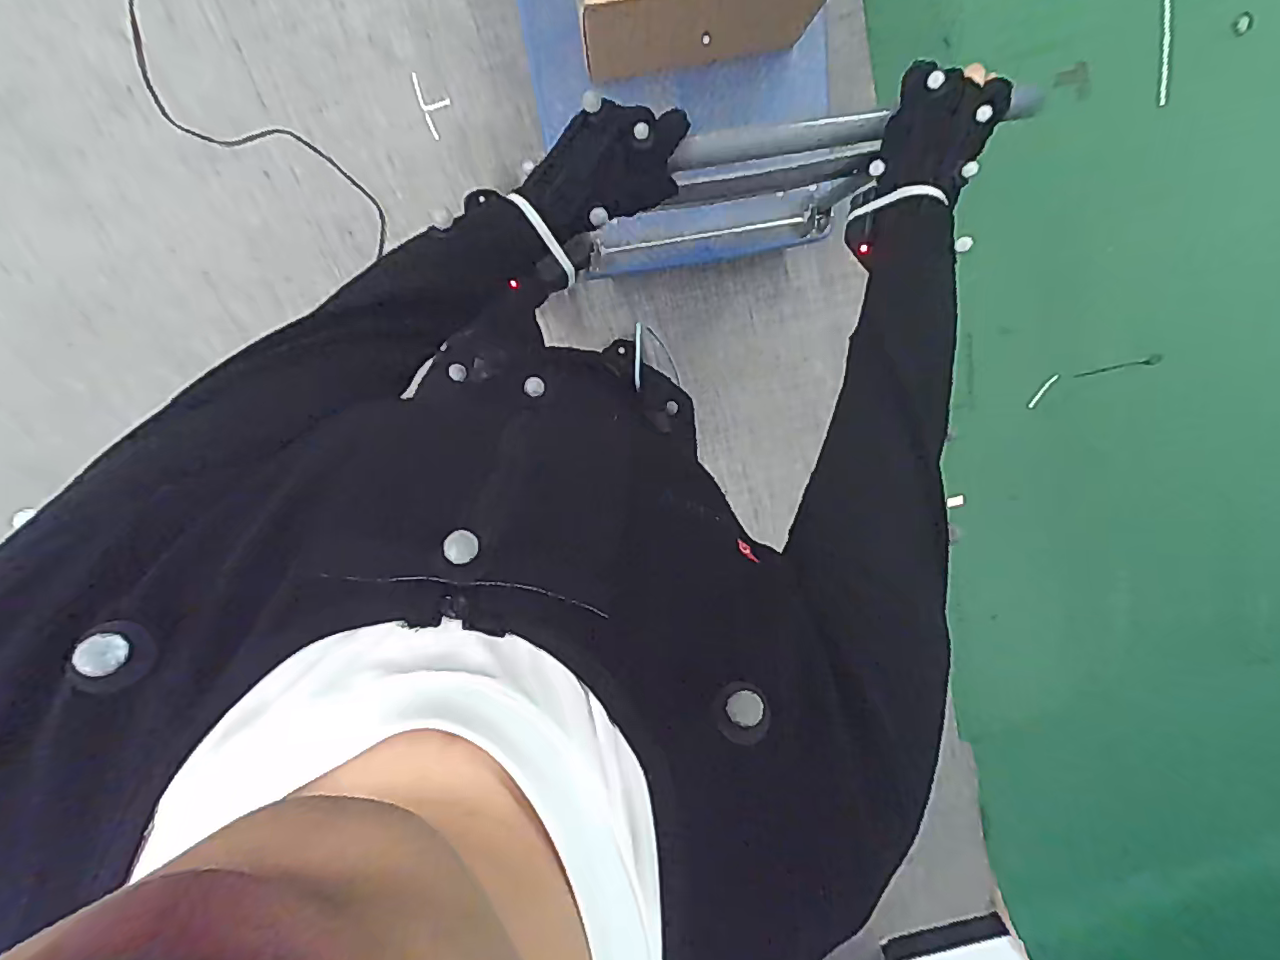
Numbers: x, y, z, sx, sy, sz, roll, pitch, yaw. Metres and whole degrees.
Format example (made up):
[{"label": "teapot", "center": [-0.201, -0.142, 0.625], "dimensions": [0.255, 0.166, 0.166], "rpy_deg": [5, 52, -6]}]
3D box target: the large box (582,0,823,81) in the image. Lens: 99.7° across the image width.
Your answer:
[{"label": "large box", "center": [0.089, -0.907, 0.869], "dimensions": [0.408, 0.320, 0.320], "rpy_deg": [-10, 109, 2]}]
